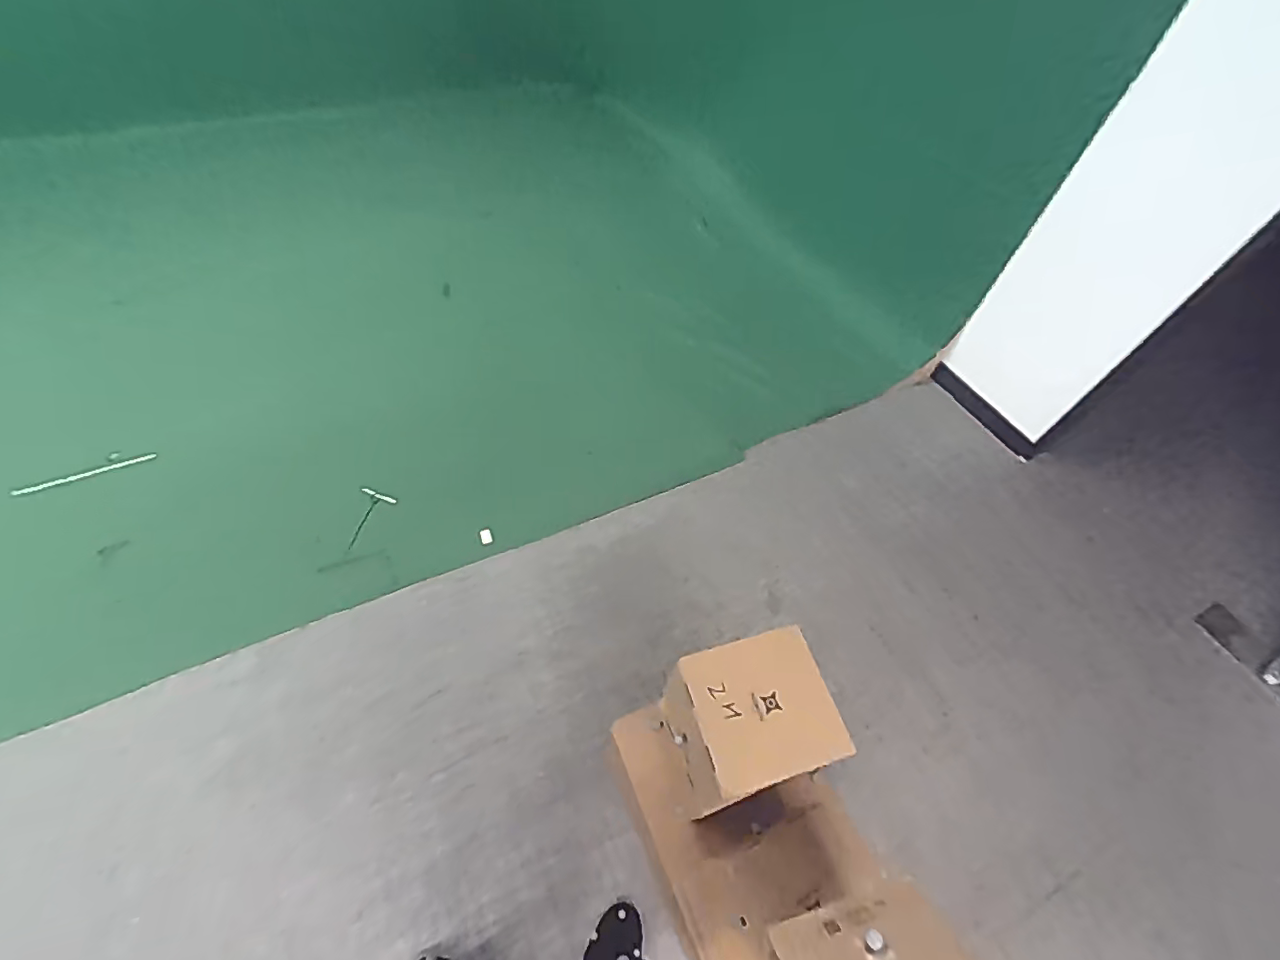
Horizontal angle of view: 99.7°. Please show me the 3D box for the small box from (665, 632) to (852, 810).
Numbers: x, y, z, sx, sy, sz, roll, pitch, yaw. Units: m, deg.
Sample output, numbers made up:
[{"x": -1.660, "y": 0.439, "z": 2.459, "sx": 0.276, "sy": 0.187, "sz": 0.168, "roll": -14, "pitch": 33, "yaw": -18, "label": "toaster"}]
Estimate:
[{"x": 0.145, "y": 0.329, "z": 0.733, "sx": 0.179, "sy": 0.176, "sz": 0.168, "roll": -12, "pitch": 57, "yaw": -12, "label": "small box"}]

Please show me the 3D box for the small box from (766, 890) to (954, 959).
[{"x": 0.228, "y": 0.532, "z": 0.489, "sx": 0.168, "sy": 0.179, "sz": 0.176, "roll": -11, "pitch": 14, "yaw": -11, "label": "small box"}]
